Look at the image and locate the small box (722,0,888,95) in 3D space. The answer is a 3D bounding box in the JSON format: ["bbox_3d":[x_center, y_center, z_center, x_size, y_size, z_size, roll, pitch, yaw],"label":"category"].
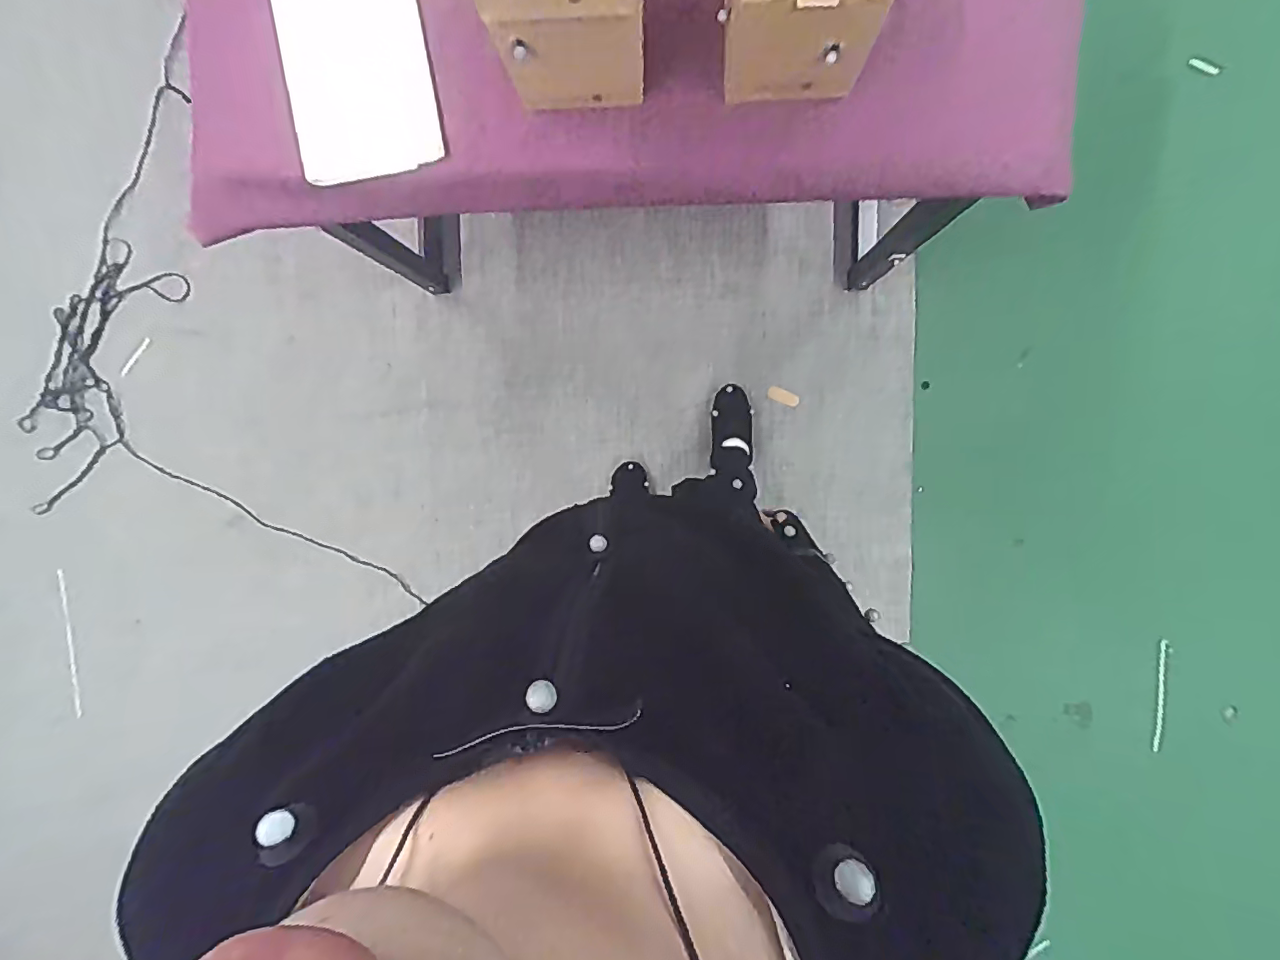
[{"bbox_3d":[0.189,-0.592,0.640,0.168,0.176,0.179,1,93,3],"label":"small box"}]

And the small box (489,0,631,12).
[{"bbox_3d":[-0.092,-0.575,0.495,0.168,0.176,0.179,1,93,4],"label":"small box"}]
